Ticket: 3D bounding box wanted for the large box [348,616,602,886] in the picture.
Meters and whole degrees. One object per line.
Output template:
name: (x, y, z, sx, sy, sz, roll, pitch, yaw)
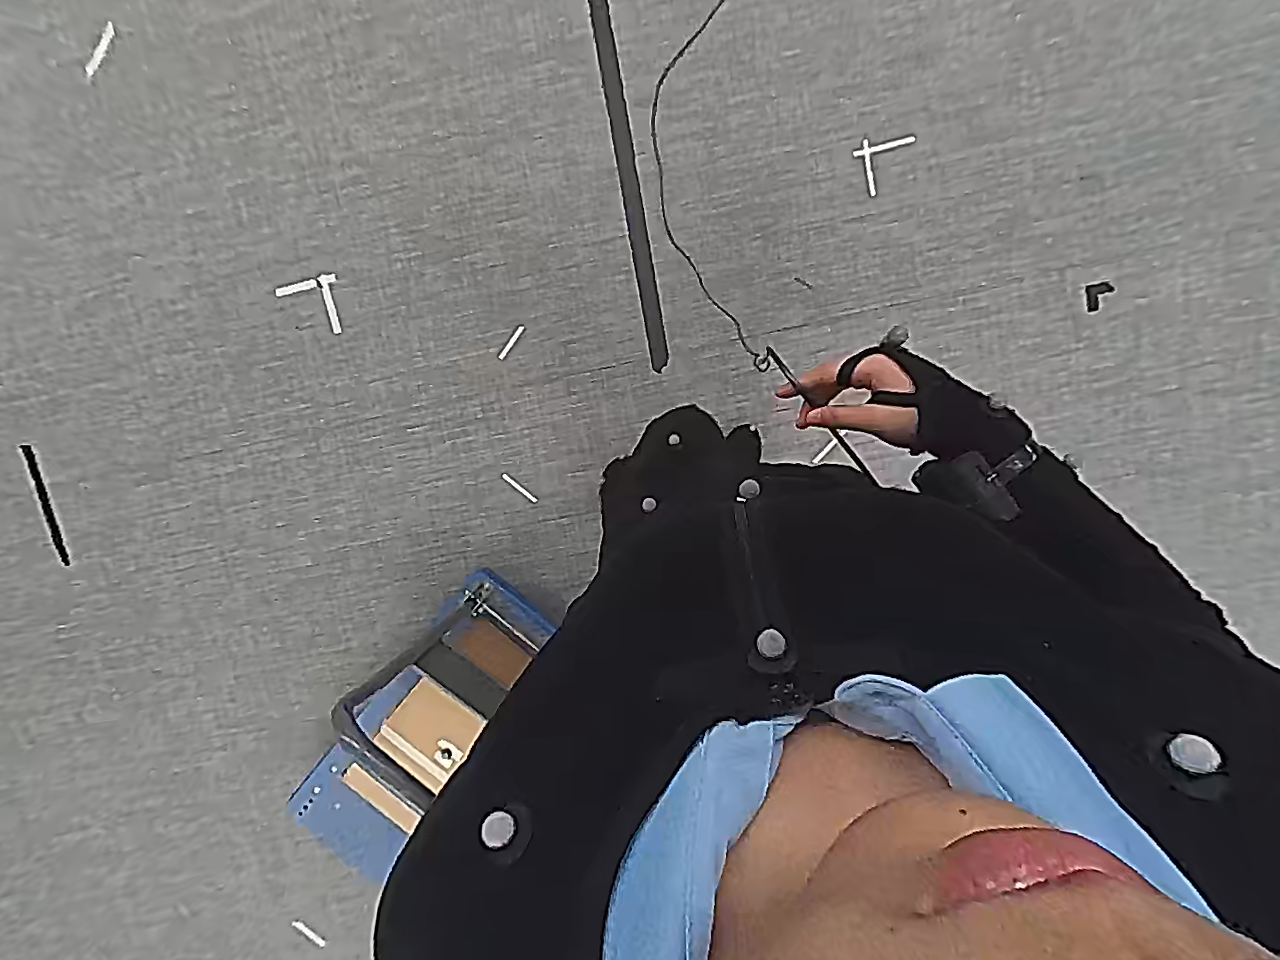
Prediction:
large box: (-0.348, 0.594, 1.250, 0.408, 0.320, 0.320, 39, 96, -1)
